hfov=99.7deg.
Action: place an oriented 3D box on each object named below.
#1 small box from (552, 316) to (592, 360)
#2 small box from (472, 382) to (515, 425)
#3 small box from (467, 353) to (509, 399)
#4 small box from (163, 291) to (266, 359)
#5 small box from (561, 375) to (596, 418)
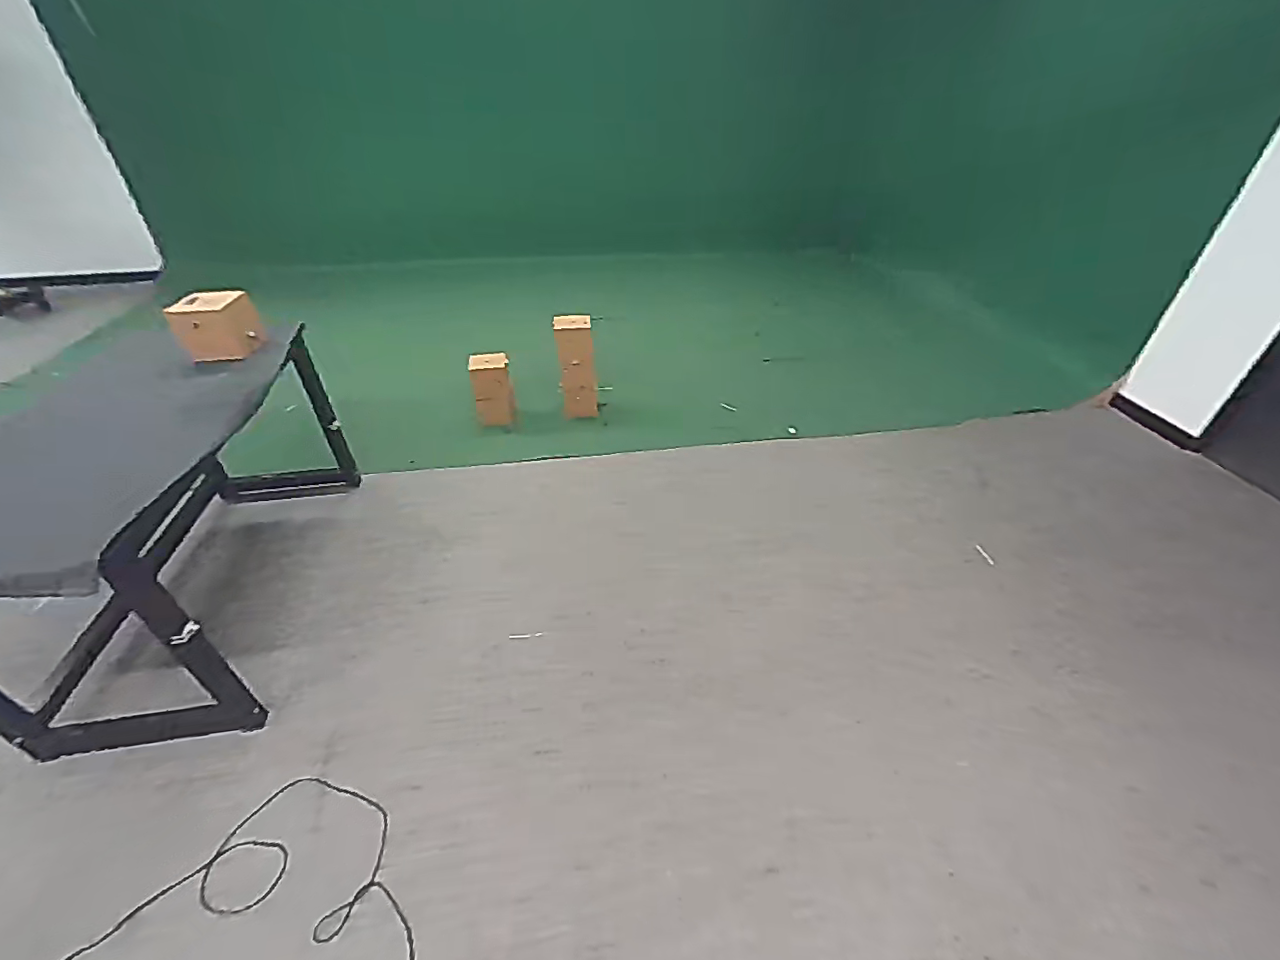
[{"bbox_3d":[-0.336,-0.704,2.687,0.179,0.176,0.168,-4,38,-4],"label":"small box"},{"bbox_3d":[-0.760,-0.402,2.830,0.179,0.176,0.168,-2,38,-2],"label":"small box"},{"bbox_3d":[-0.760,-0.522,2.721,0.179,0.176,0.168,-7,38,-8],"label":"small box"},{"bbox_3d":[-1.389,-0.508,1.780,0.179,0.176,0.168,-4,39,-2],"label":"small box"},{"bbox_3d":[-0.324,-0.447,2.891,0.179,0.176,0.168,-3,39,-3],"label":"small box"}]
